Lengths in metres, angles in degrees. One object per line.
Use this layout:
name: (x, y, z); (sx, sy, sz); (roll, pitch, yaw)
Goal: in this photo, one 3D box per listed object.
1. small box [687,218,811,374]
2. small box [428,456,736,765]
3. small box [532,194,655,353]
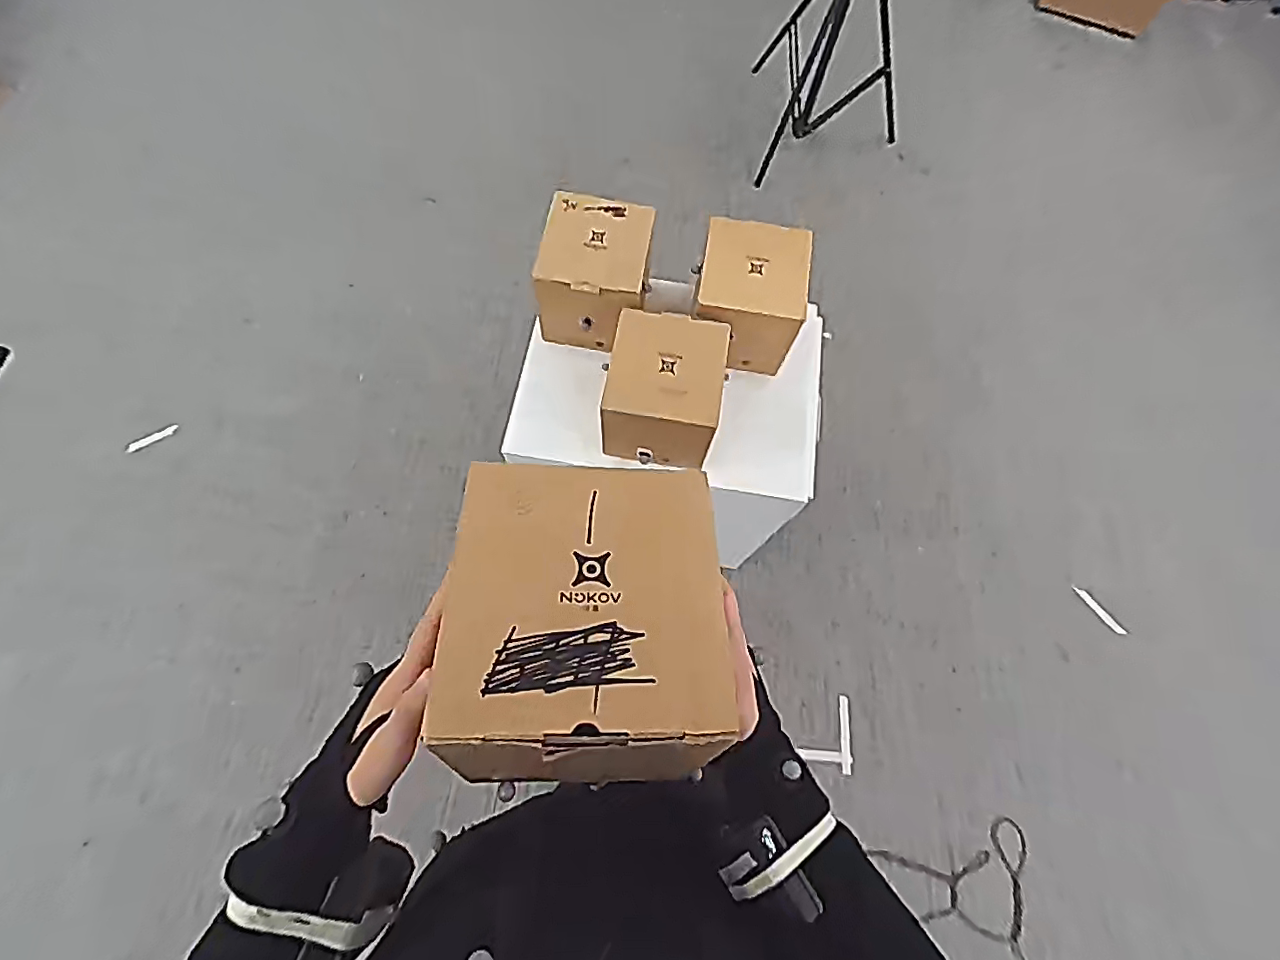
small box: (0.176, -0.301, 0.911); (0.168, 0.176, 0.179); (9, 70, 1)
small box: (-0.038, 0.103, 0.395); (0.168, 0.176, 0.179); (2, 54, -7)
small box: (-0.073, -0.337, 0.910); (0.168, 0.176, 0.179); (10, 71, 0)
